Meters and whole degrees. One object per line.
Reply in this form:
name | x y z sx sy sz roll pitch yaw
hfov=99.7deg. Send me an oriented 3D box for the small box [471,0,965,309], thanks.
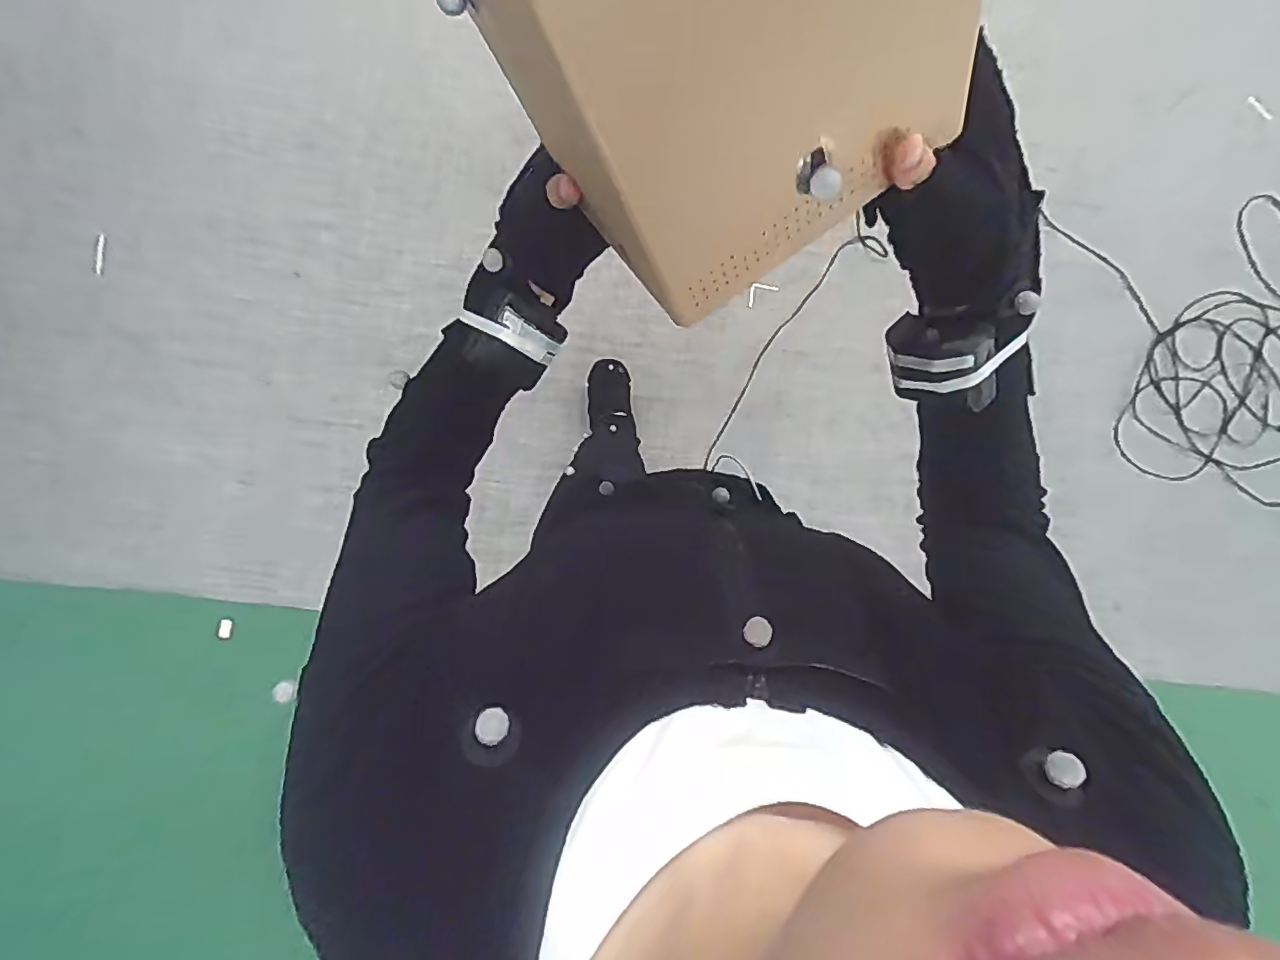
small box | 0.028 -0.222 0.252 0.179 0.176 0.168 -34 59 6
